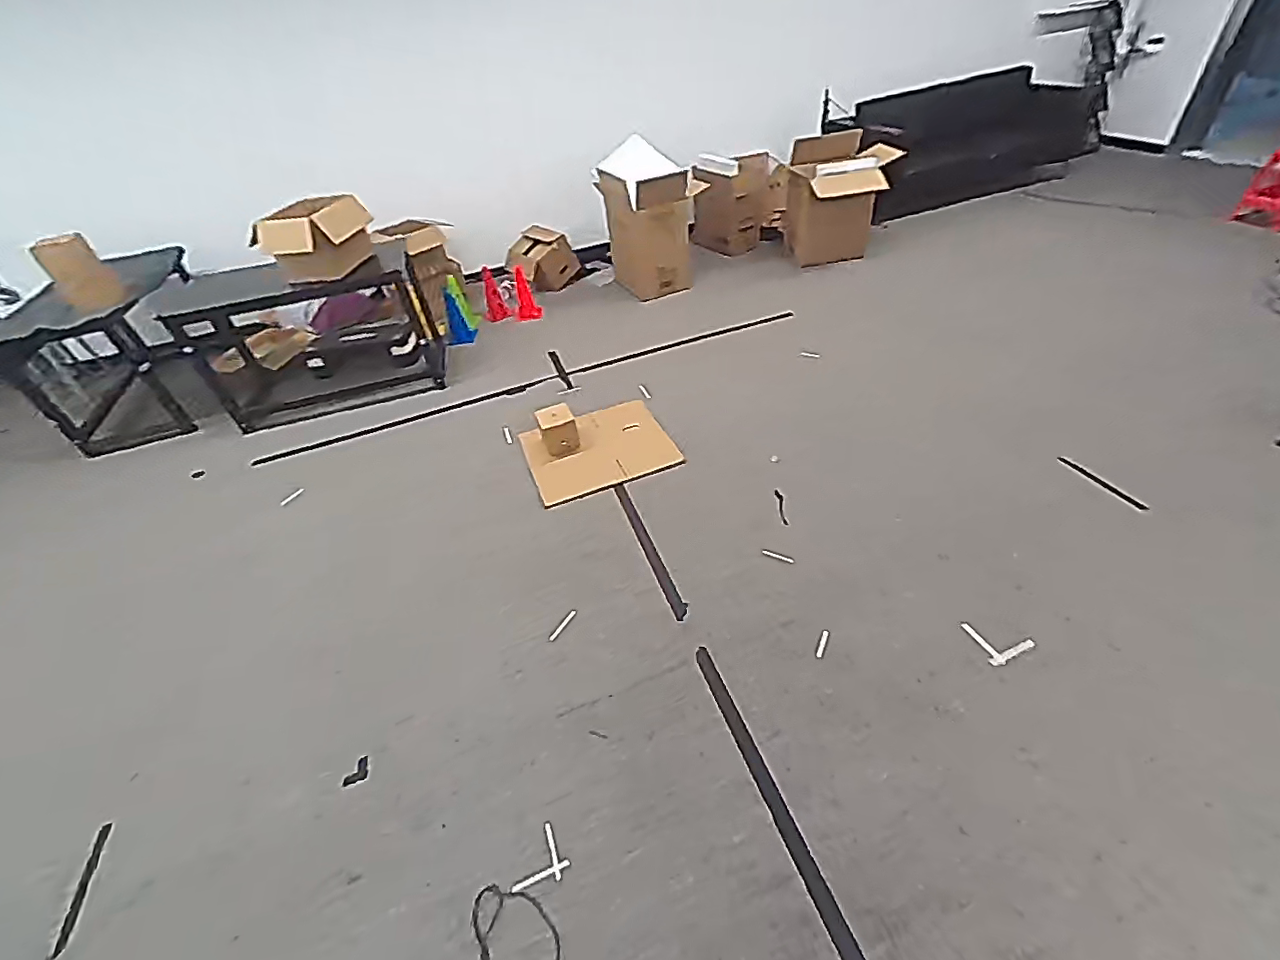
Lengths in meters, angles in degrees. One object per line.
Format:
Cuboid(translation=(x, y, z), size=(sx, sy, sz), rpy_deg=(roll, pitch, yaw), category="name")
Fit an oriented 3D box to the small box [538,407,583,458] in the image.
Cuboid(translation=(-0.400, -0.238, 2.717), size=(0.168, 0.176, 0.179), rpy_deg=(-19, 42, -12), category="small box")
